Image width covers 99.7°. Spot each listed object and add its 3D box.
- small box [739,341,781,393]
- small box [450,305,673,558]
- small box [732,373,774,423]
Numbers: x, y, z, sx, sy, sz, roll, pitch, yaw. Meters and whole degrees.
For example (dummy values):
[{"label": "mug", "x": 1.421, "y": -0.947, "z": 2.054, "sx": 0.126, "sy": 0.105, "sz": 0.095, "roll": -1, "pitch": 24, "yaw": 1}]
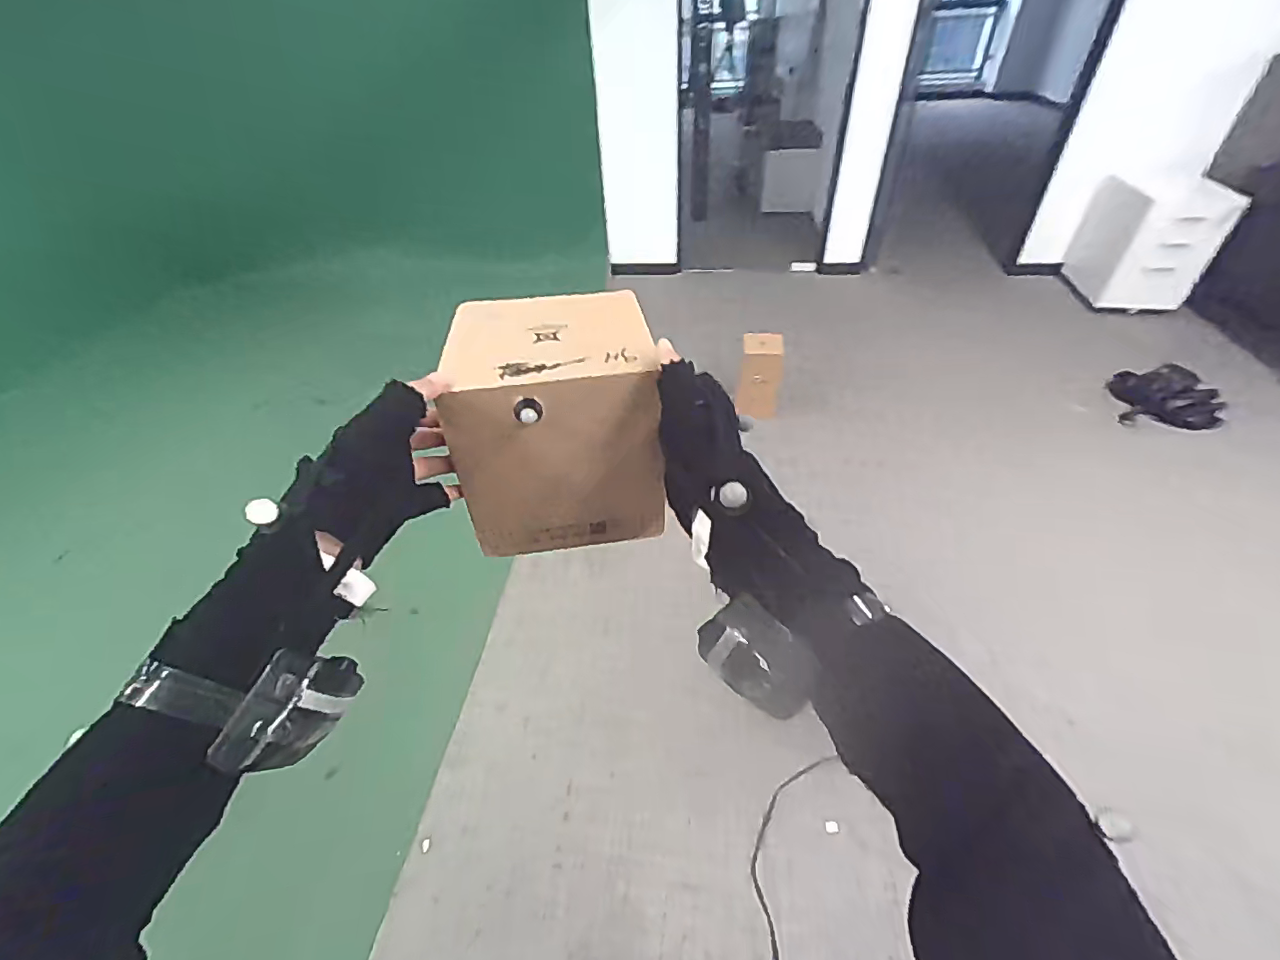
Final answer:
[{"label": "small box", "x": 0.529, "y": -0.501, "z": 2.398, "sx": 0.168, "sy": 0.176, "sz": 0.179, "roll": 2, "pitch": 42, "yaw": 9}, {"label": "small box", "x": -0.064, "y": -0.051, "z": 0.509, "sx": 0.168, "sy": 0.176, "sz": 0.179, "roll": -7, "pitch": 37, "yaw": -4}, {"label": "small box", "x": 0.521, "y": -0.376, "z": 2.500, "sx": 0.179, "sy": 0.176, "sz": 0.168, "roll": 3, "pitch": 42, "yaw": 9}]
